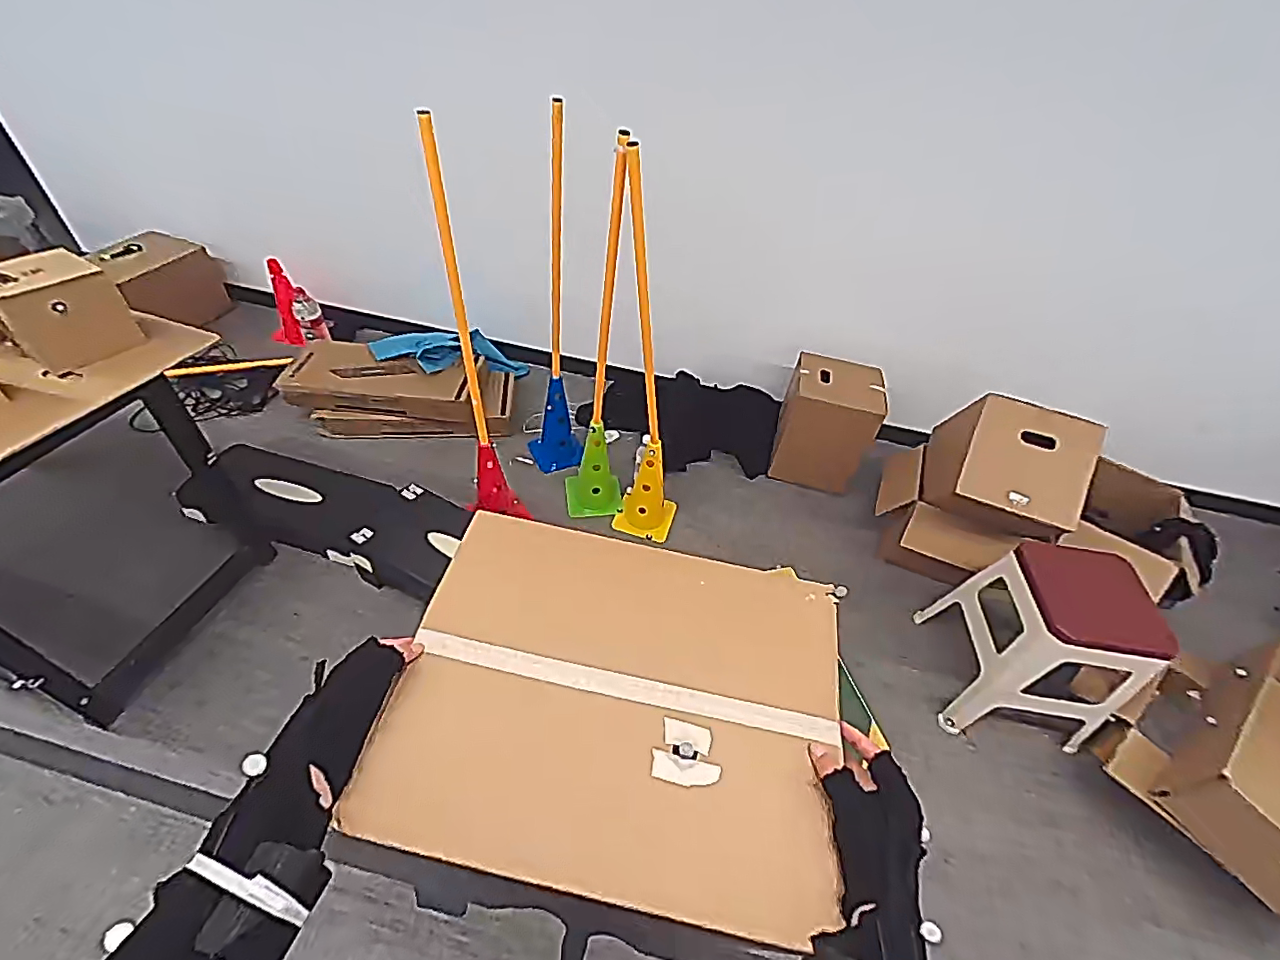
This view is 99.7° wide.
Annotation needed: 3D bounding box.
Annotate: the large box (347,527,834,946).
[{"bbox_3d":[-0.032,0.298,0.633,0.408,0.320,0.320,12,51,3],"label":"large box"}]
